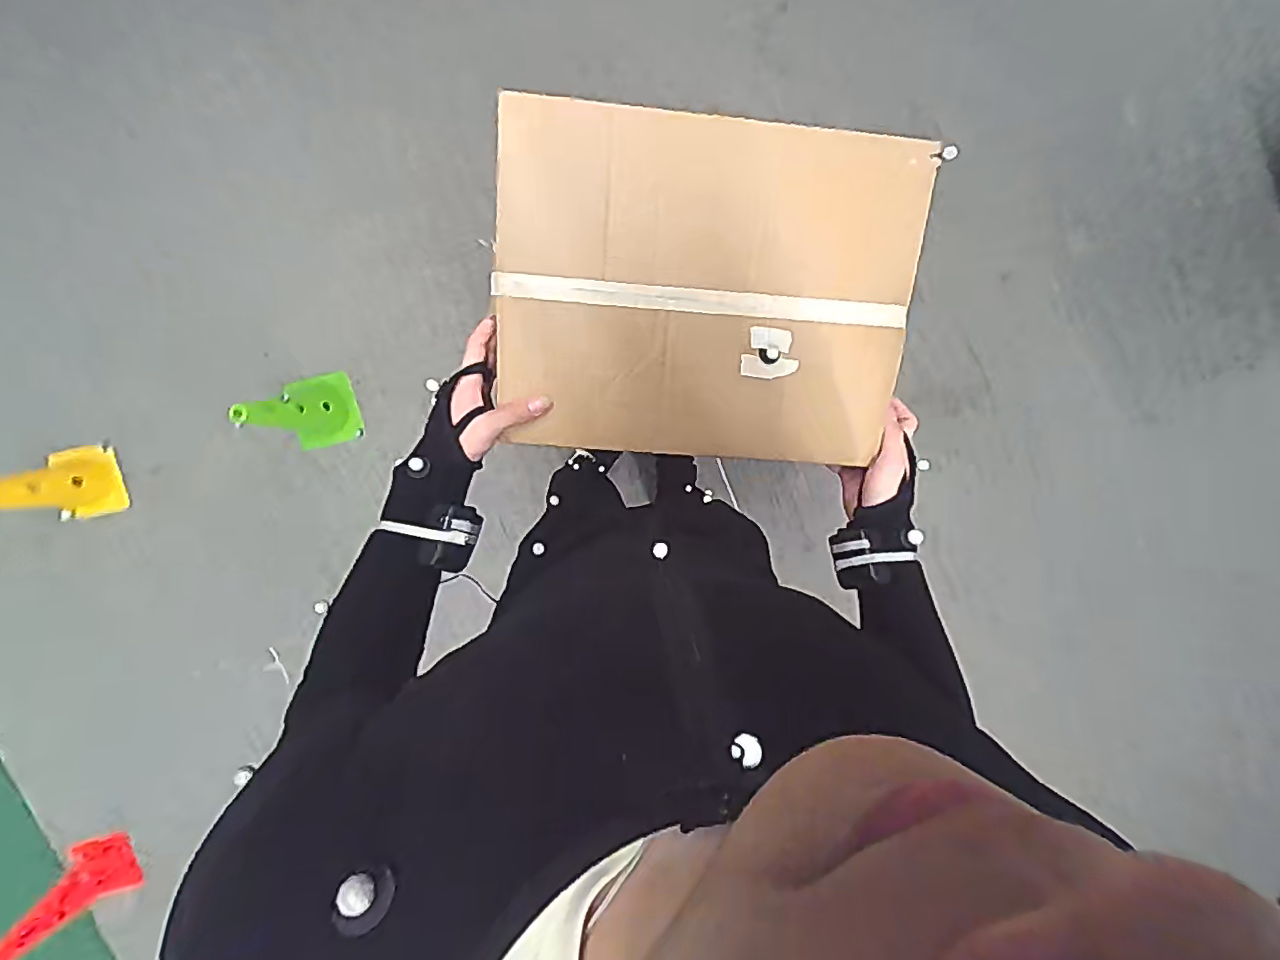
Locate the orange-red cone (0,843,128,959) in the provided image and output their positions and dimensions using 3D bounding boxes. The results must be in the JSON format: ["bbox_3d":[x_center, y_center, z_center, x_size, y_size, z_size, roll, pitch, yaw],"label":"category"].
[{"bbox_3d":[-1.790,1.311,1.599,0.198,0.360,0.199,-13,99,2],"label":"orange-red cone"}]

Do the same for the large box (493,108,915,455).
[{"bbox_3d":[0.046,-0.218,0.679,0.408,0.320,0.320,2,106,-6],"label":"large box"}]

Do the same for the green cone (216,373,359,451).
[{"bbox_3d":[-0.945,-0.178,1.414,0.202,0.368,0.200,-14,97,3],"label":"green cone"}]
